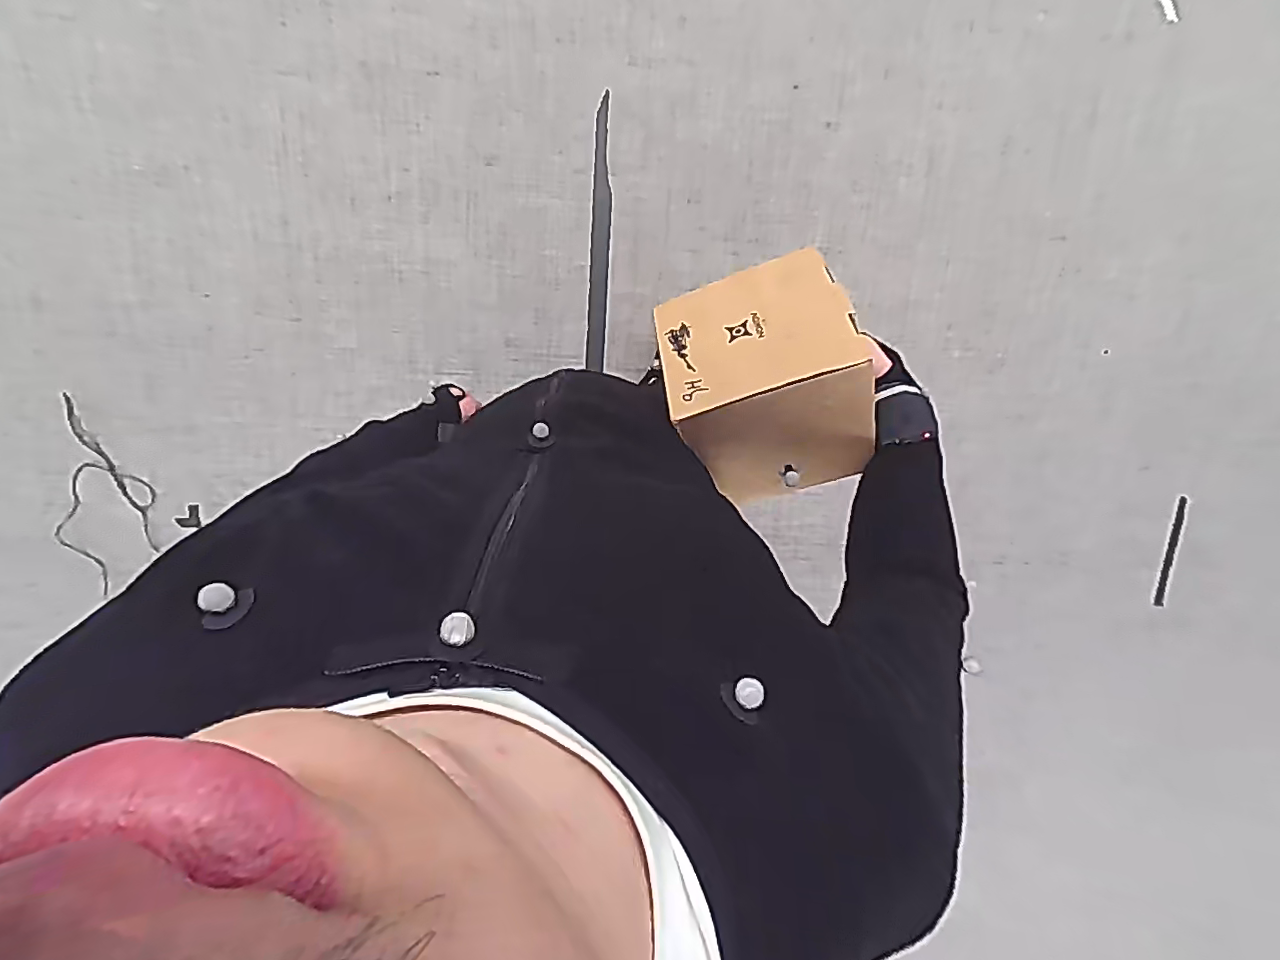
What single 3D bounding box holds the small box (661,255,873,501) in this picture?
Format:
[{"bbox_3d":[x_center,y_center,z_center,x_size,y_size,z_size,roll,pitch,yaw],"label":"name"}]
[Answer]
[{"bbox_3d":[0.137,-0.101,0.588,0.179,0.168,0.176,-16,142,13],"label":"small box"}]
